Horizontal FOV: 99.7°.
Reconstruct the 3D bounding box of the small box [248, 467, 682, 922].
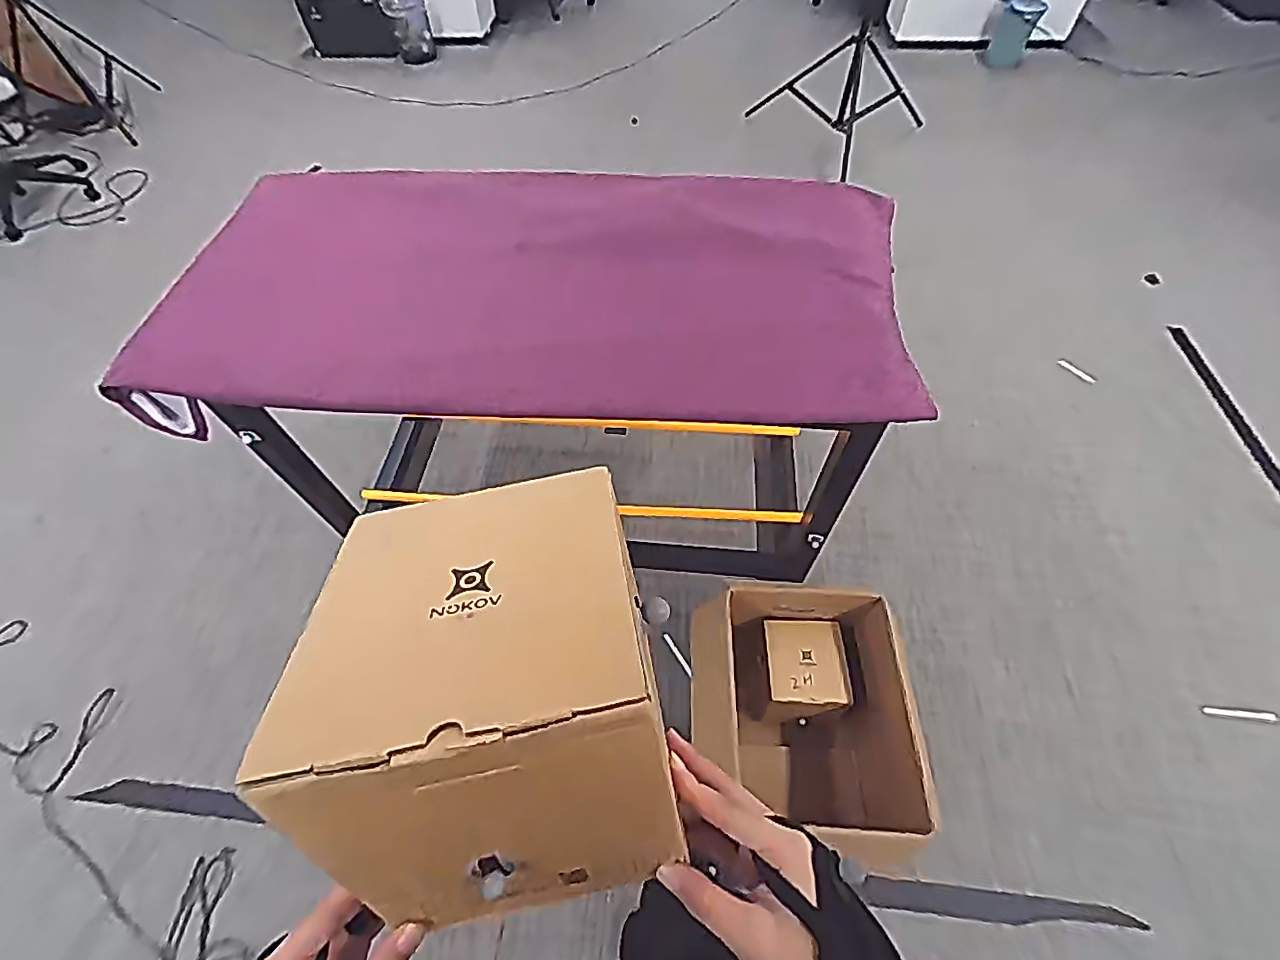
[{"bbox_3d":[-0.077,0.119,0.328,0.168,0.176,0.179,-12,35,-3],"label":"small box"}]
